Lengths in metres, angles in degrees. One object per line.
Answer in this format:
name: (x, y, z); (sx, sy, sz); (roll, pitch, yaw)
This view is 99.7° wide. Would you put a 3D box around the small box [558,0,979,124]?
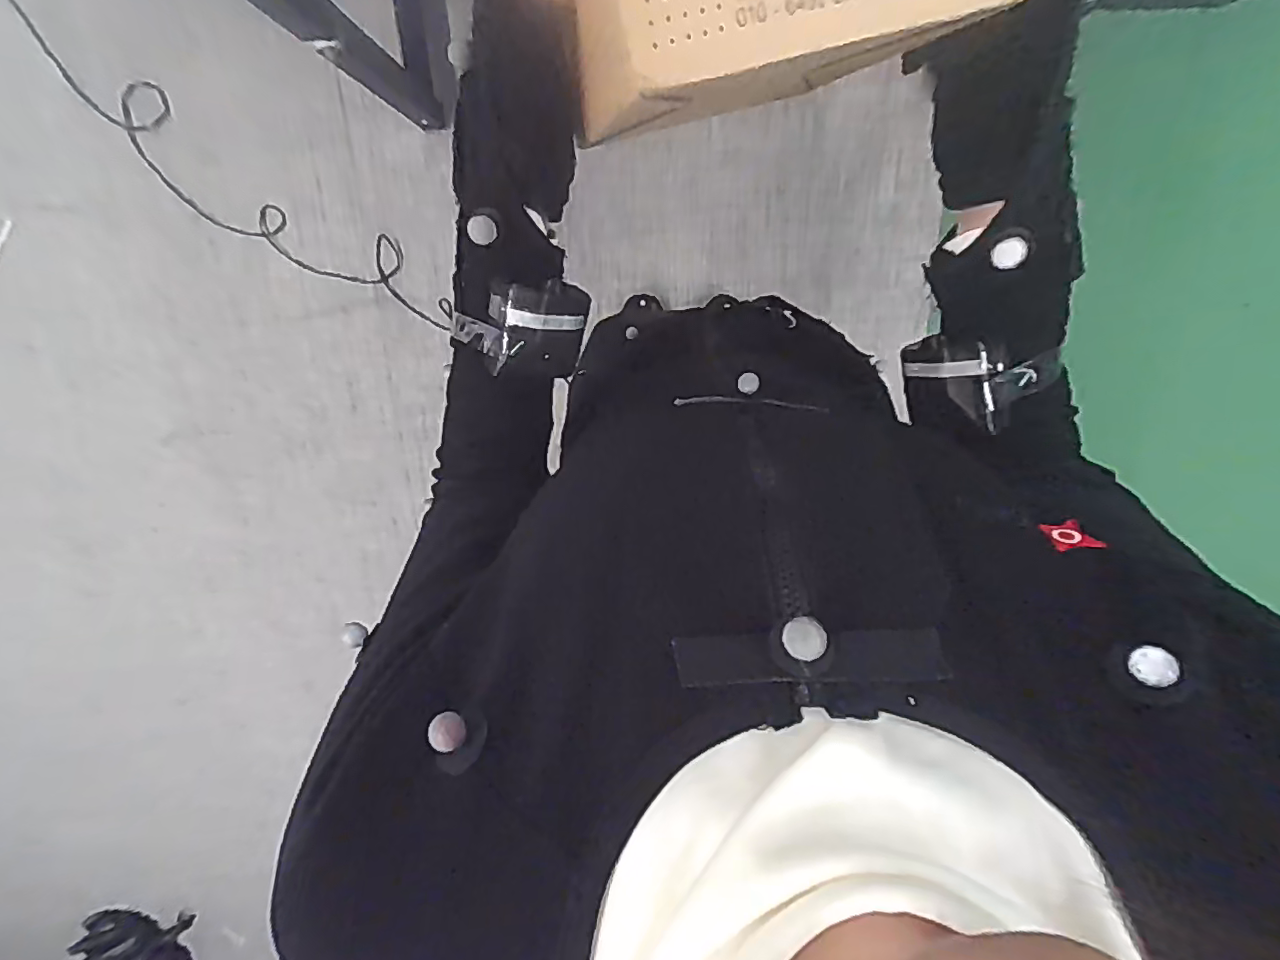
small box: (0.041, -0.286, 0.253); (0.168, 0.179, 0.176); (-18, 119, -5)
